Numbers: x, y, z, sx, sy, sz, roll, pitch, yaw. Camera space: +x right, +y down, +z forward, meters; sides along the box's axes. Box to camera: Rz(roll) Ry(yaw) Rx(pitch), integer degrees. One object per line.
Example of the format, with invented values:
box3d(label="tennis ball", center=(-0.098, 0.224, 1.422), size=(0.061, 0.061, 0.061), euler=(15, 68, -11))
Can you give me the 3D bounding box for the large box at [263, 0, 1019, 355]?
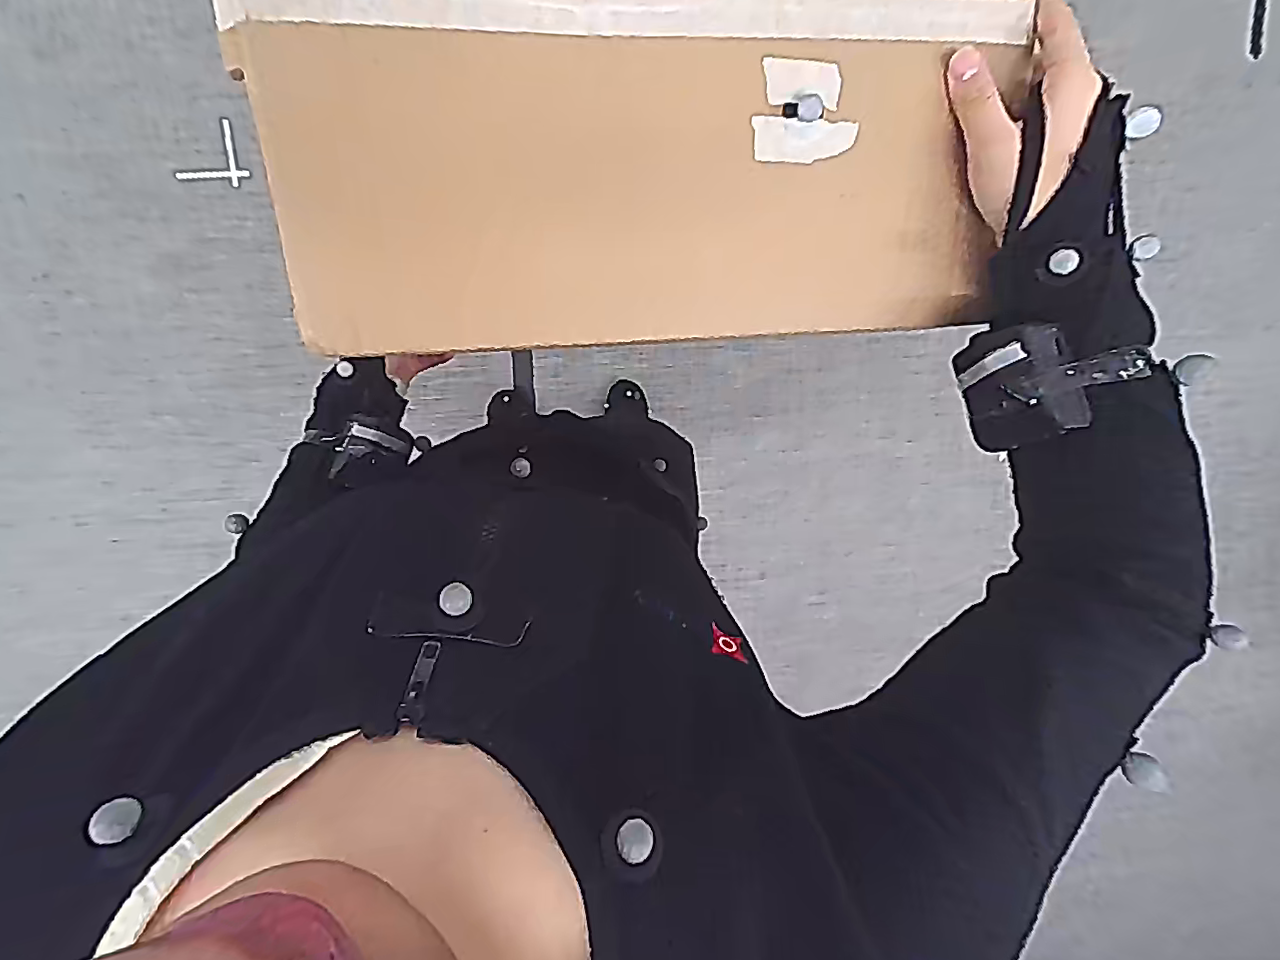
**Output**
box3d(label="large box", center=(-0.008, -0.272, 0.422), size=(0.408, 0.320, 0.320), euler=(-6, 106, -10))
